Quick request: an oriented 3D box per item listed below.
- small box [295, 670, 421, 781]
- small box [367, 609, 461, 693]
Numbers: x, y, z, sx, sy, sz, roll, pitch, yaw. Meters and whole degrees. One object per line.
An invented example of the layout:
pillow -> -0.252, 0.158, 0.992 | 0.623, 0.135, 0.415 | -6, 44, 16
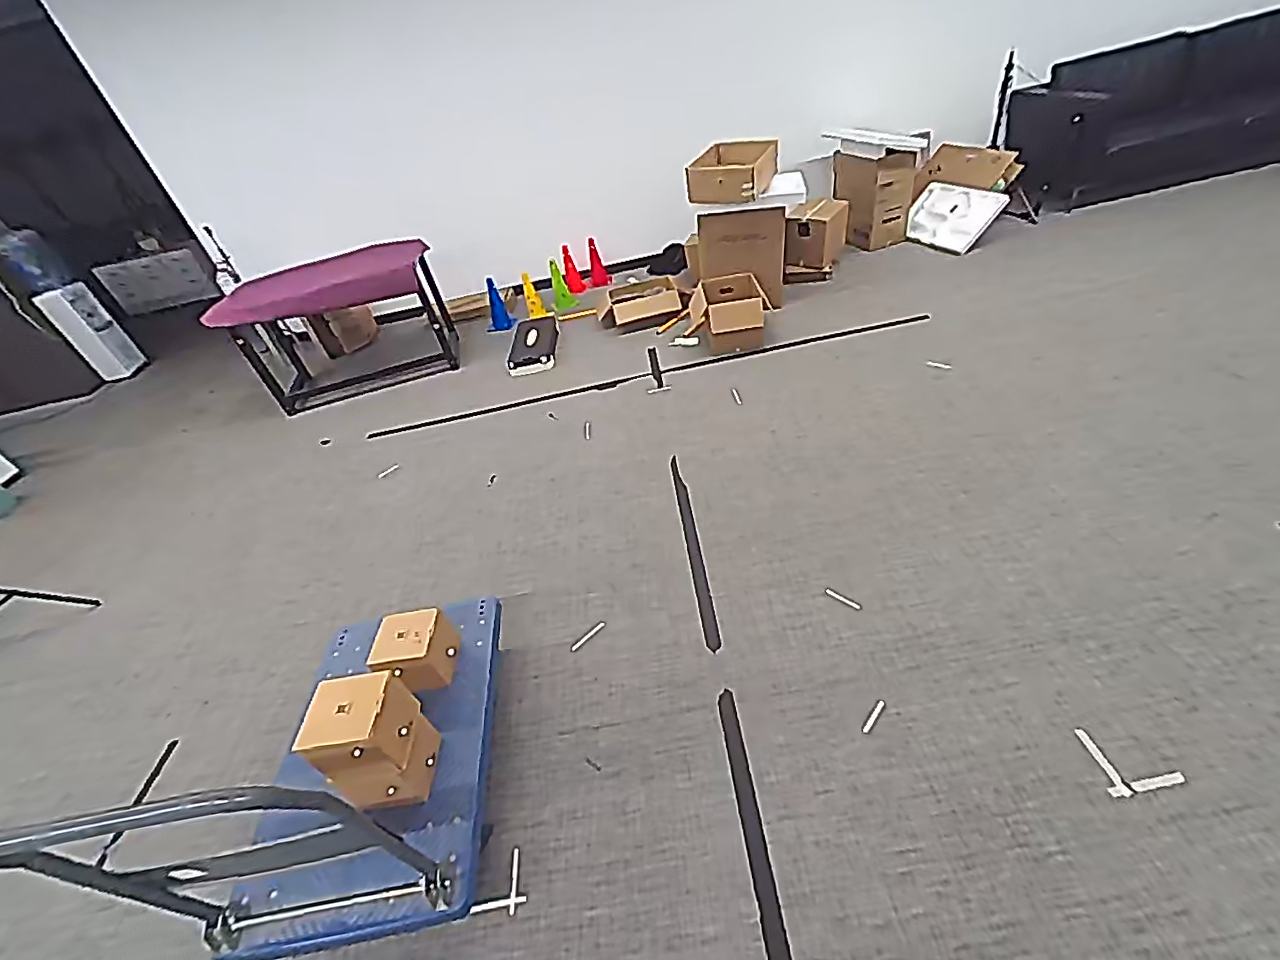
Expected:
small box -> -0.640, 0.571, 1.249 | 0.179, 0.176, 0.168 | -10, 38, 2
small box -> -0.656, 0.507, 1.591 | 0.179, 0.176, 0.168 | -10, 39, 4
